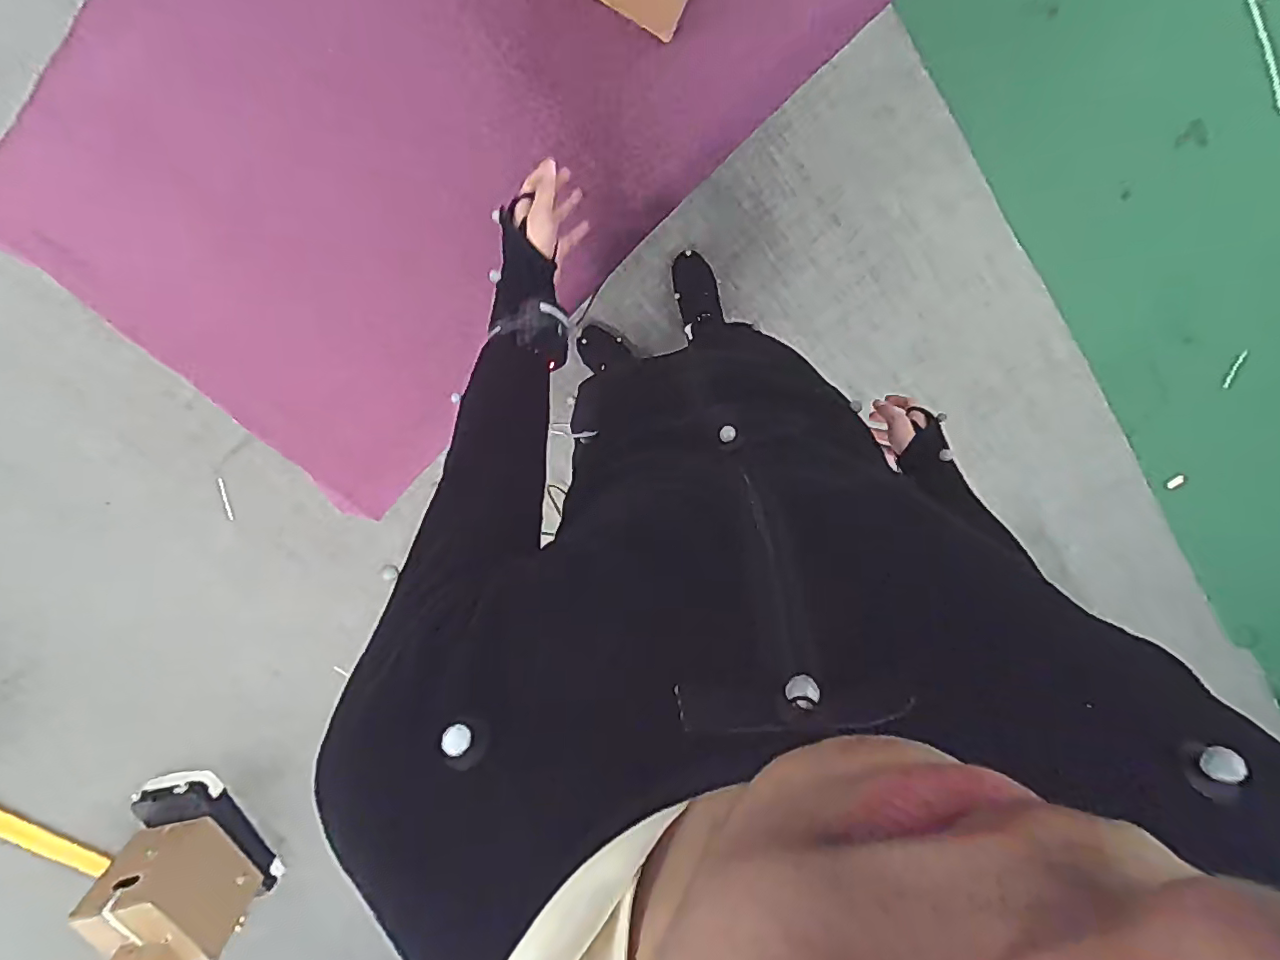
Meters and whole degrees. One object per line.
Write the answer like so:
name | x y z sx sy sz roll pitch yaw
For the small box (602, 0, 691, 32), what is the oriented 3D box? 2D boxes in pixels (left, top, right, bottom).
small box | 0.003 -0.605 0.549 0.179 0.176 0.168 24 111 -11
